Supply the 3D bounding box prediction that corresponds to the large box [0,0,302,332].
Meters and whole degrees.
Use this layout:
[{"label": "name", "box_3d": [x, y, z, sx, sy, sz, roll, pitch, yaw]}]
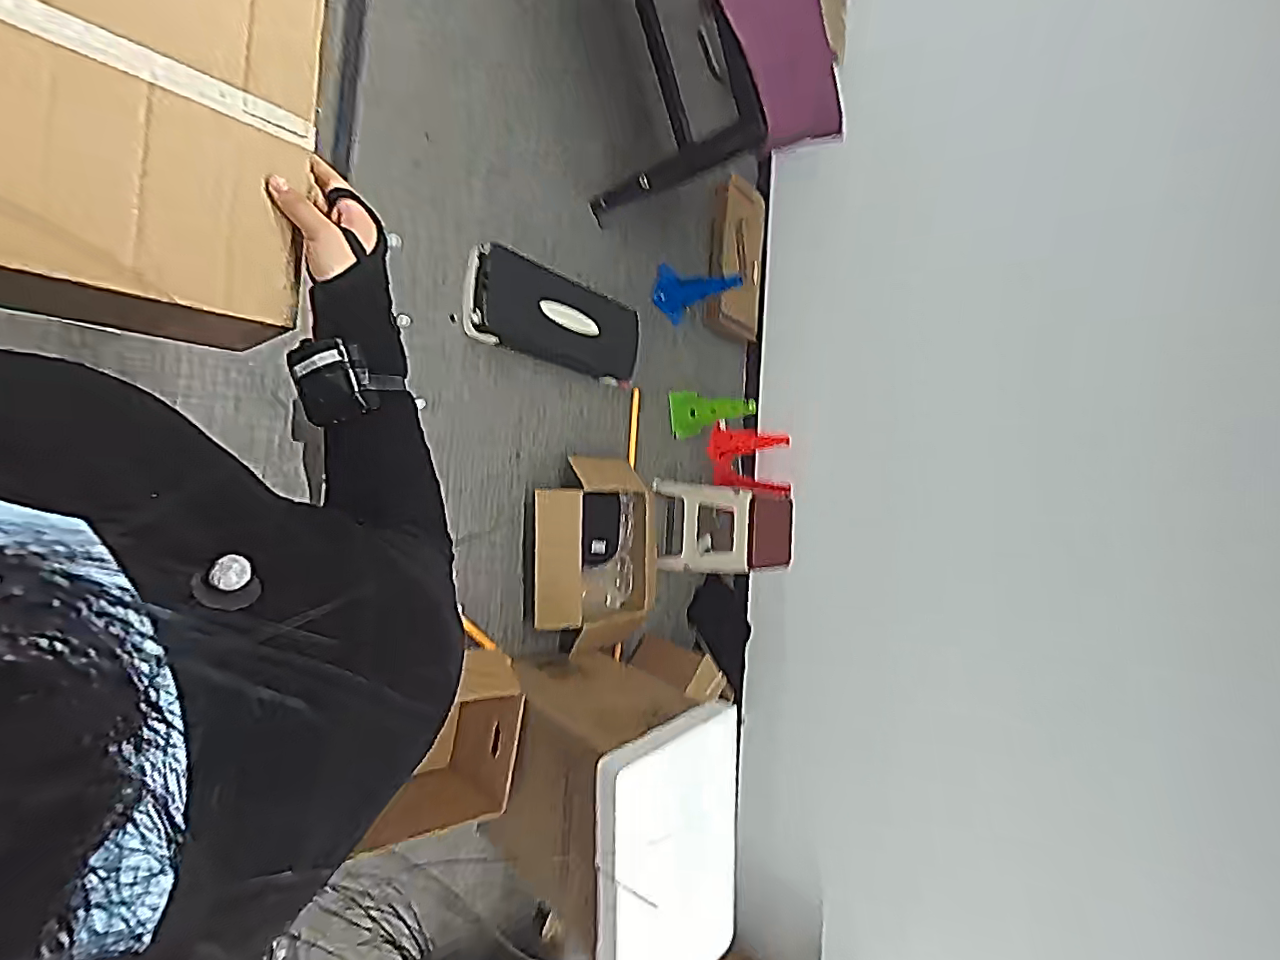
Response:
[{"label": "large box", "box_3d": [-0.534, -0.318, 0.427, 0.408, 0.320, 0.320, 3, 94, -44]}]
